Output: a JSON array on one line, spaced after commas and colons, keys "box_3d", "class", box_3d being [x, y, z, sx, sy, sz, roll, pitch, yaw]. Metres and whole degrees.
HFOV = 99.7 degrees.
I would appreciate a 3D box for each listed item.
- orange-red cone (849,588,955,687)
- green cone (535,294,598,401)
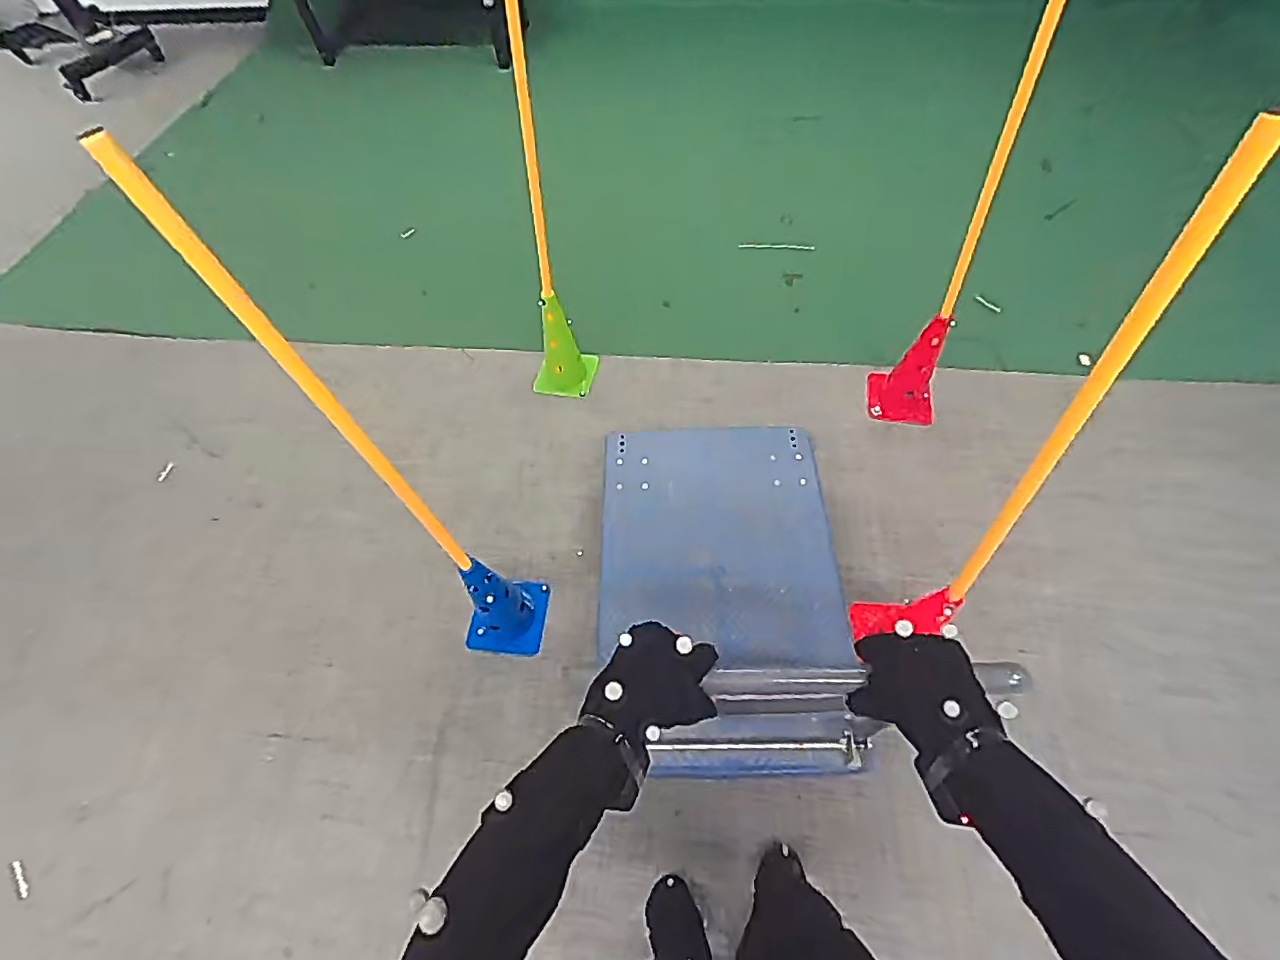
[{"box_3d": [0.635, 0.333, 1.248, 0.199, 0.360, 0.198, 3, 58, 7], "class": "orange-red cone"}, {"box_3d": [-0.272, -0.459, 1.790, 0.202, 0.368, 0.200, 7, 58, 9], "class": "green cone"}]
